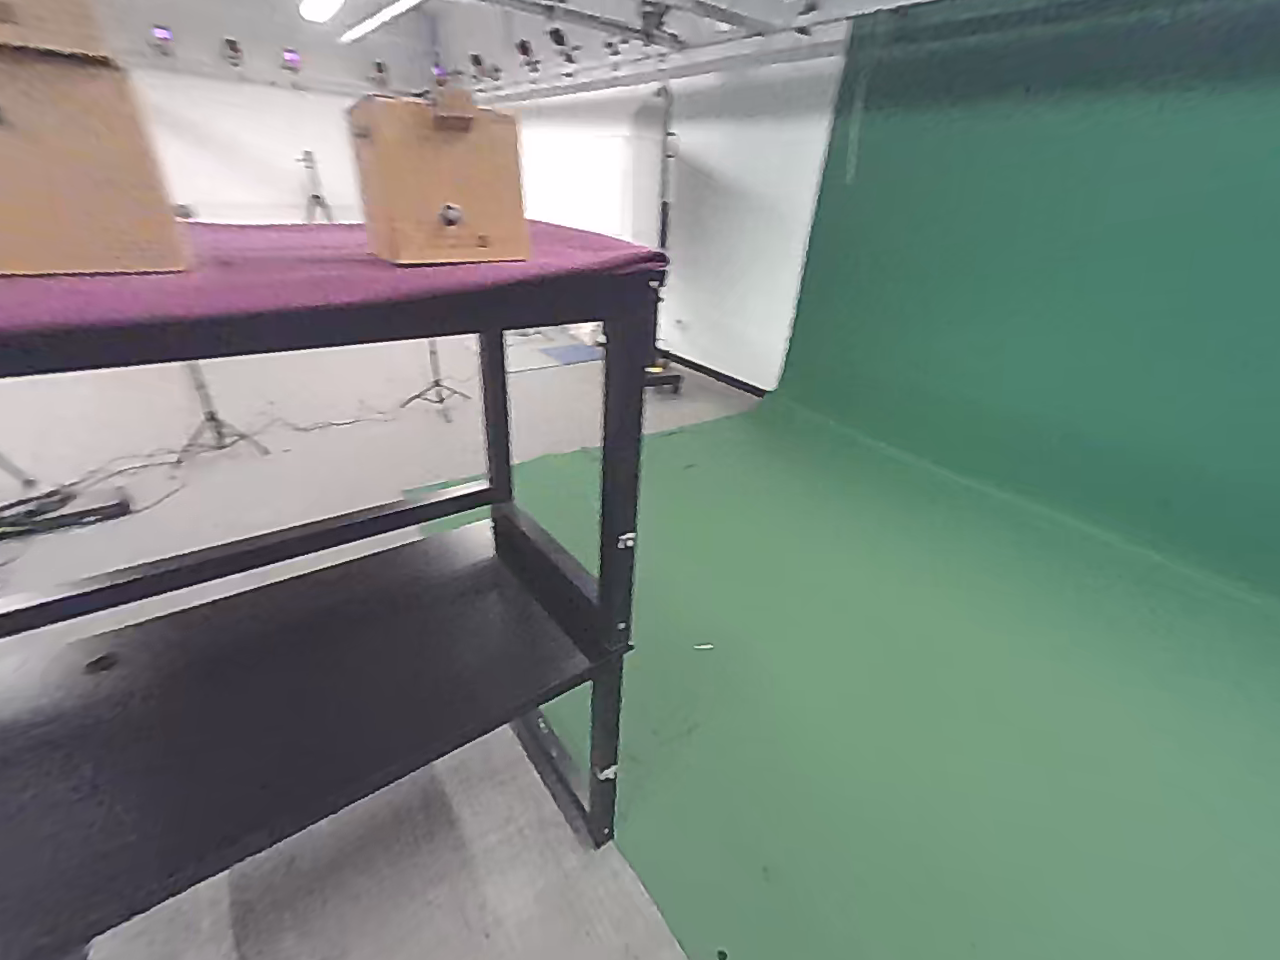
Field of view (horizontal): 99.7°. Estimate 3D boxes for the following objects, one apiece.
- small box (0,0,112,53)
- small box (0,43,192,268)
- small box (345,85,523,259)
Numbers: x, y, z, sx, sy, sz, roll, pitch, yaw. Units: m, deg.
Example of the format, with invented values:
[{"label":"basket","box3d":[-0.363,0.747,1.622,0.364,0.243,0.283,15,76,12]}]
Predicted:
[{"label":"small box","box3d":[-0.546,-0.433,0.415,0.168,0.176,0.179,-20,36,-36]},{"label":"small box","box3d":[-0.555,-0.294,0.502,0.179,0.176,0.168,-16,33,-33]},{"label":"small box","box3d":[-0.260,-0.380,0.691,0.168,0.176,0.179,-16,32,-30]}]
